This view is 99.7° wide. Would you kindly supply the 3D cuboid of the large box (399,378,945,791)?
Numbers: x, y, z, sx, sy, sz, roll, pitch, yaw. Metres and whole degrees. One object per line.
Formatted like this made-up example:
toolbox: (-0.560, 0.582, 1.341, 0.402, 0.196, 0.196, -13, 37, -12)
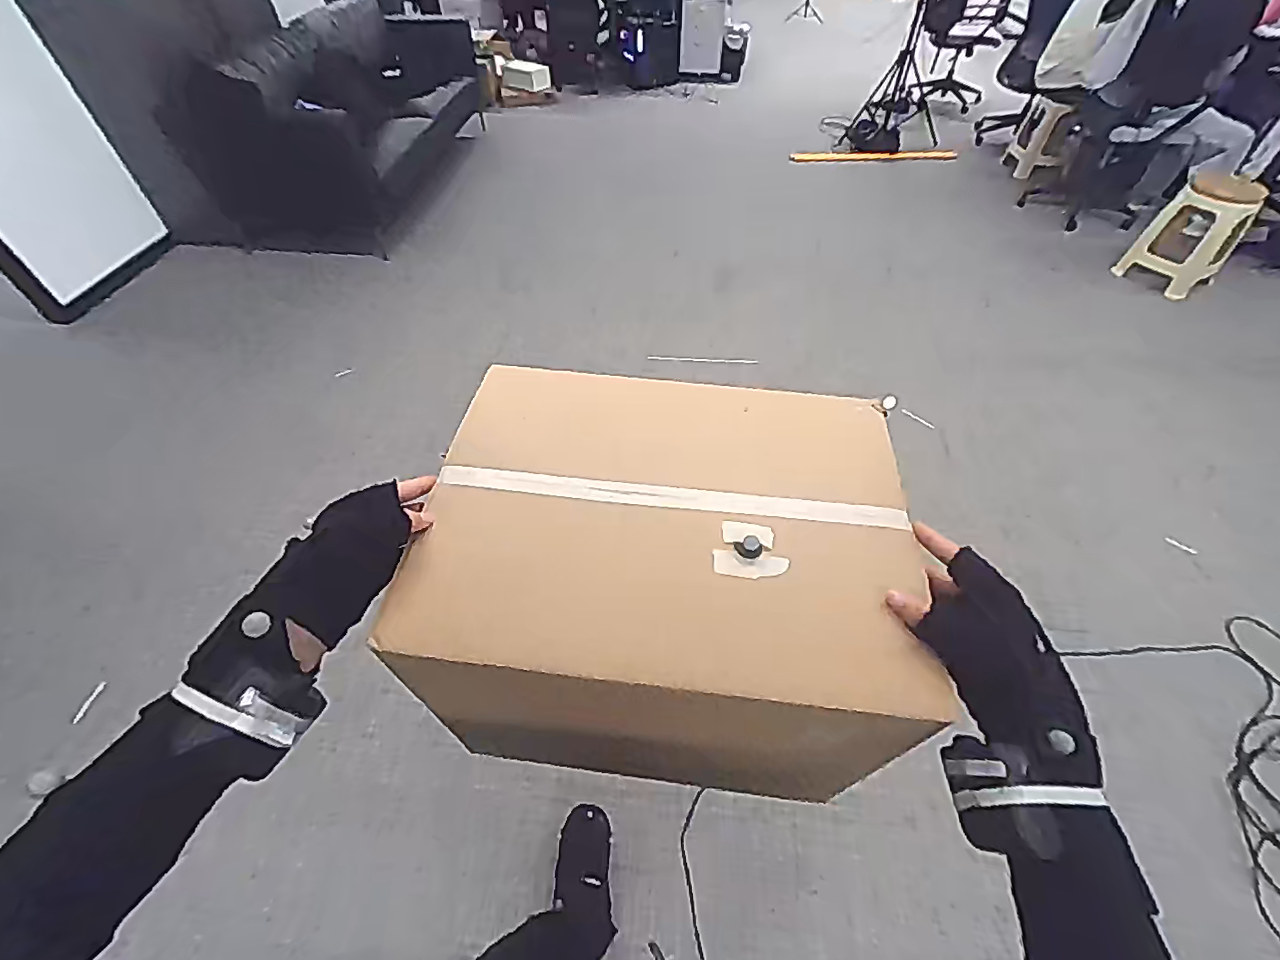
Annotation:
large box: (0.027, 0.119, 0.593, 0.408, 0.320, 0.320, 6, 51, 3)
